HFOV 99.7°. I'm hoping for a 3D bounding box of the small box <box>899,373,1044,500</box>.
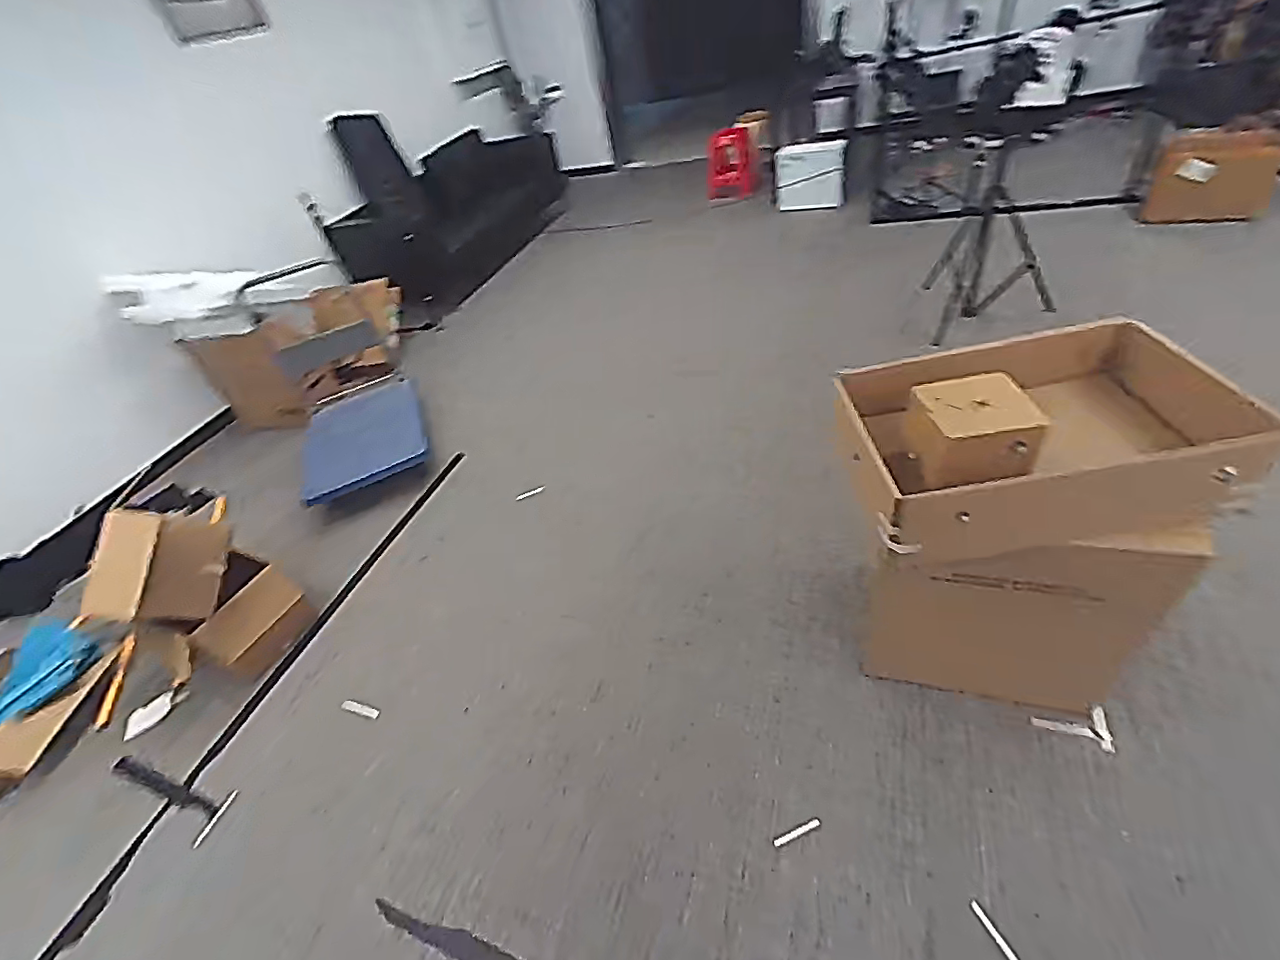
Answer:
[{"bbox_3d":[0.631,-0.082,1.057,0.179,0.176,0.168,-10,43,7],"label":"small box"}]
